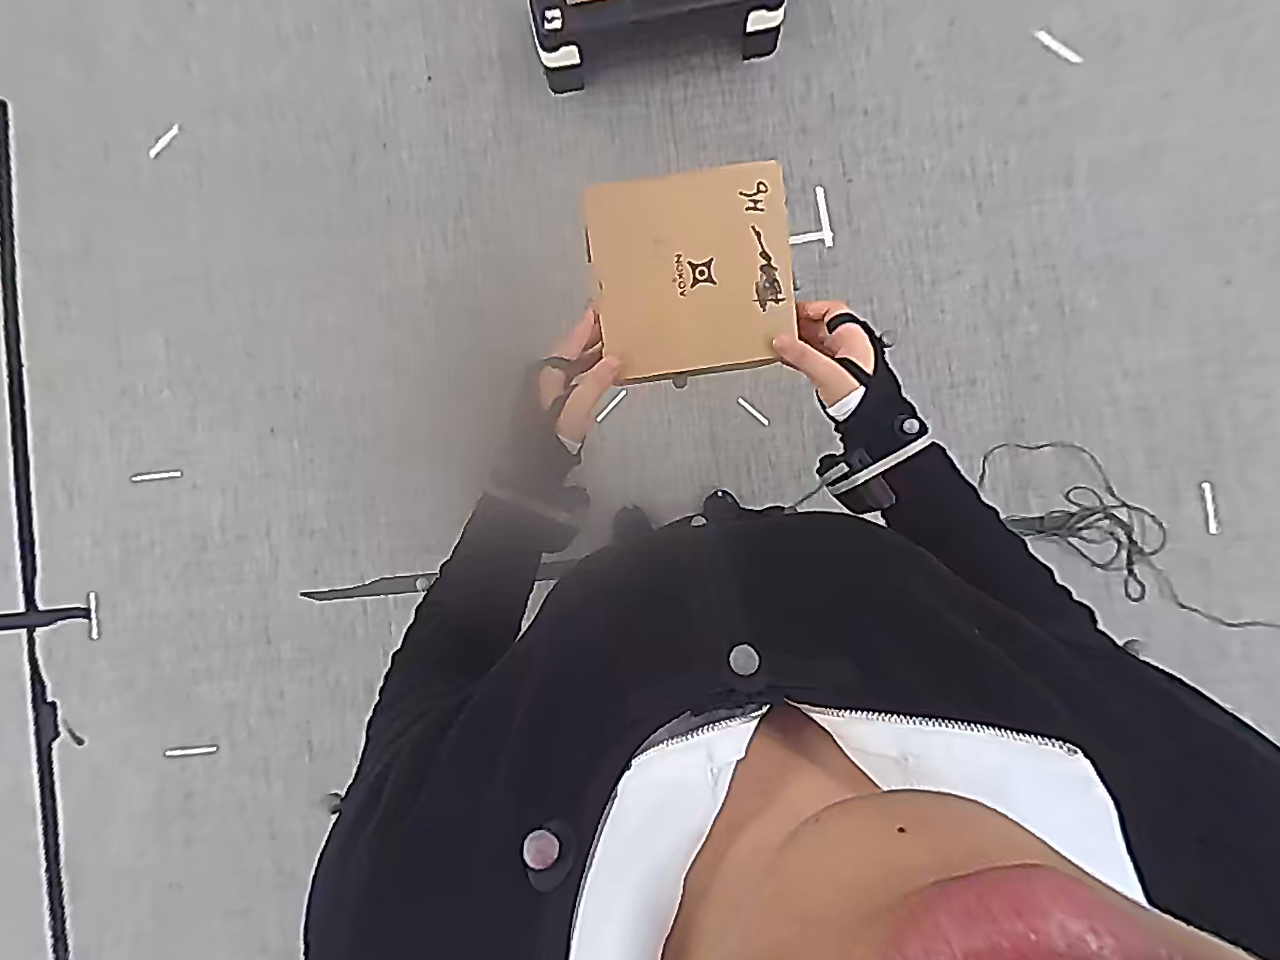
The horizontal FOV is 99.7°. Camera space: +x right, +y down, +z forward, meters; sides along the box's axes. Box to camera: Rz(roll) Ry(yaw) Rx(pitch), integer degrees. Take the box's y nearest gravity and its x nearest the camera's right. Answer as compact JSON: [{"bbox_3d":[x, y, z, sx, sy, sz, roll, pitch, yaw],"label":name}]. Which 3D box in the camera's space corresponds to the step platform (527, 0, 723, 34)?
[{"bbox_3d":[0.040,-1.292,1.255,0.684,0.204,0.286,-9,87,2],"label":"step platform"}]

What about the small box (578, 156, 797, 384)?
[{"bbox_3d":[0.043,-0.192,0.544,0.179,0.176,0.168,-7,97,0],"label":"small box"}]
